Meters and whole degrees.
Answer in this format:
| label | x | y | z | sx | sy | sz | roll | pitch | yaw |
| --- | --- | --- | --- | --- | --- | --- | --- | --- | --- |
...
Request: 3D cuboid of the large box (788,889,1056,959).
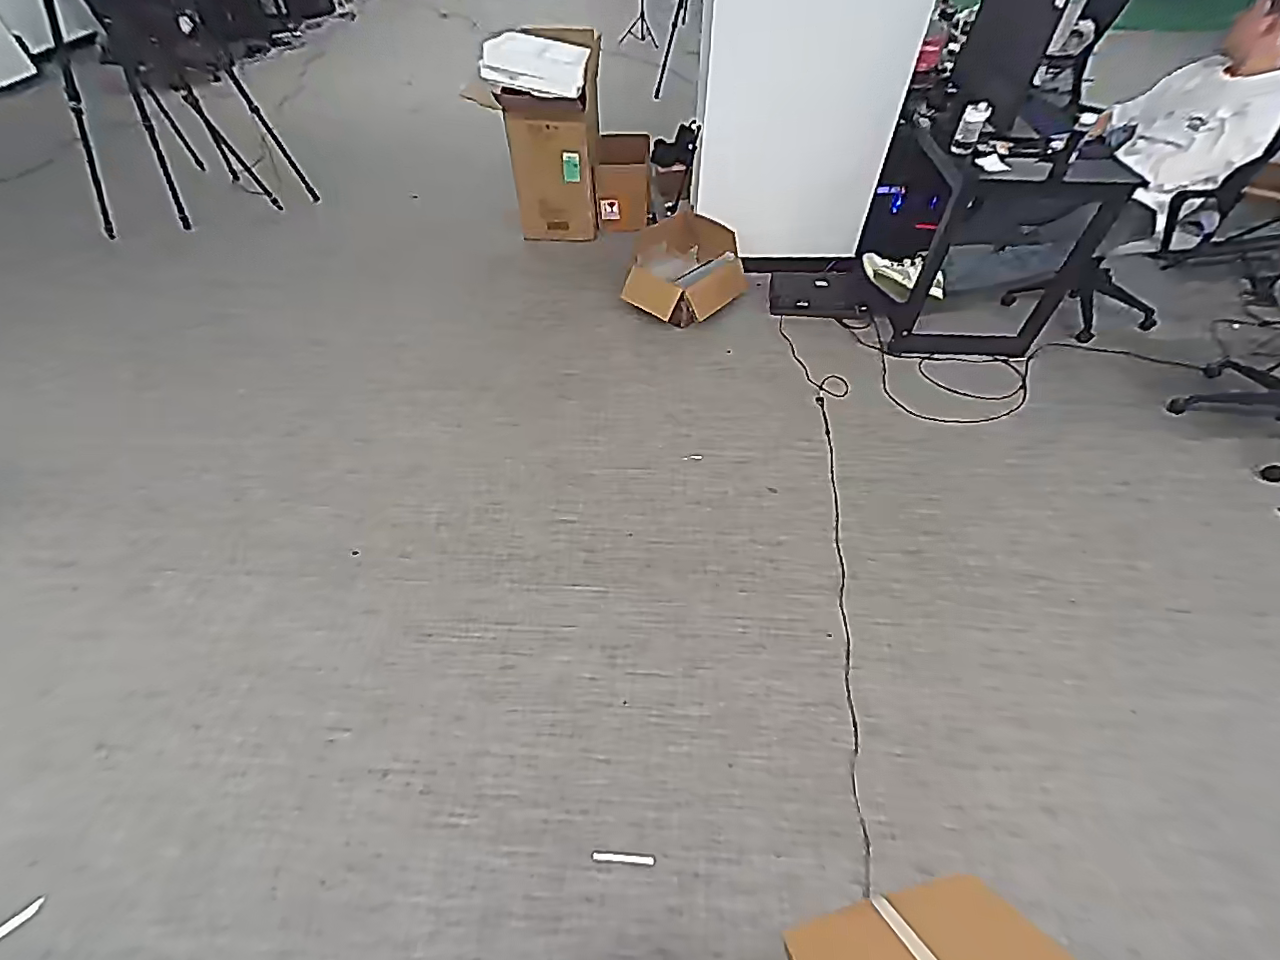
| label | x | y | z | sx | sy | sz | roll | pitch | yaw |
| --- | --- | --- | --- | --- | --- | --- | --- | --- | --- |
| large box | 0.412 | 0.773 | 0.605 | 0.320 | 0.408 | 0.320 | -12 | 82 | -6 |
